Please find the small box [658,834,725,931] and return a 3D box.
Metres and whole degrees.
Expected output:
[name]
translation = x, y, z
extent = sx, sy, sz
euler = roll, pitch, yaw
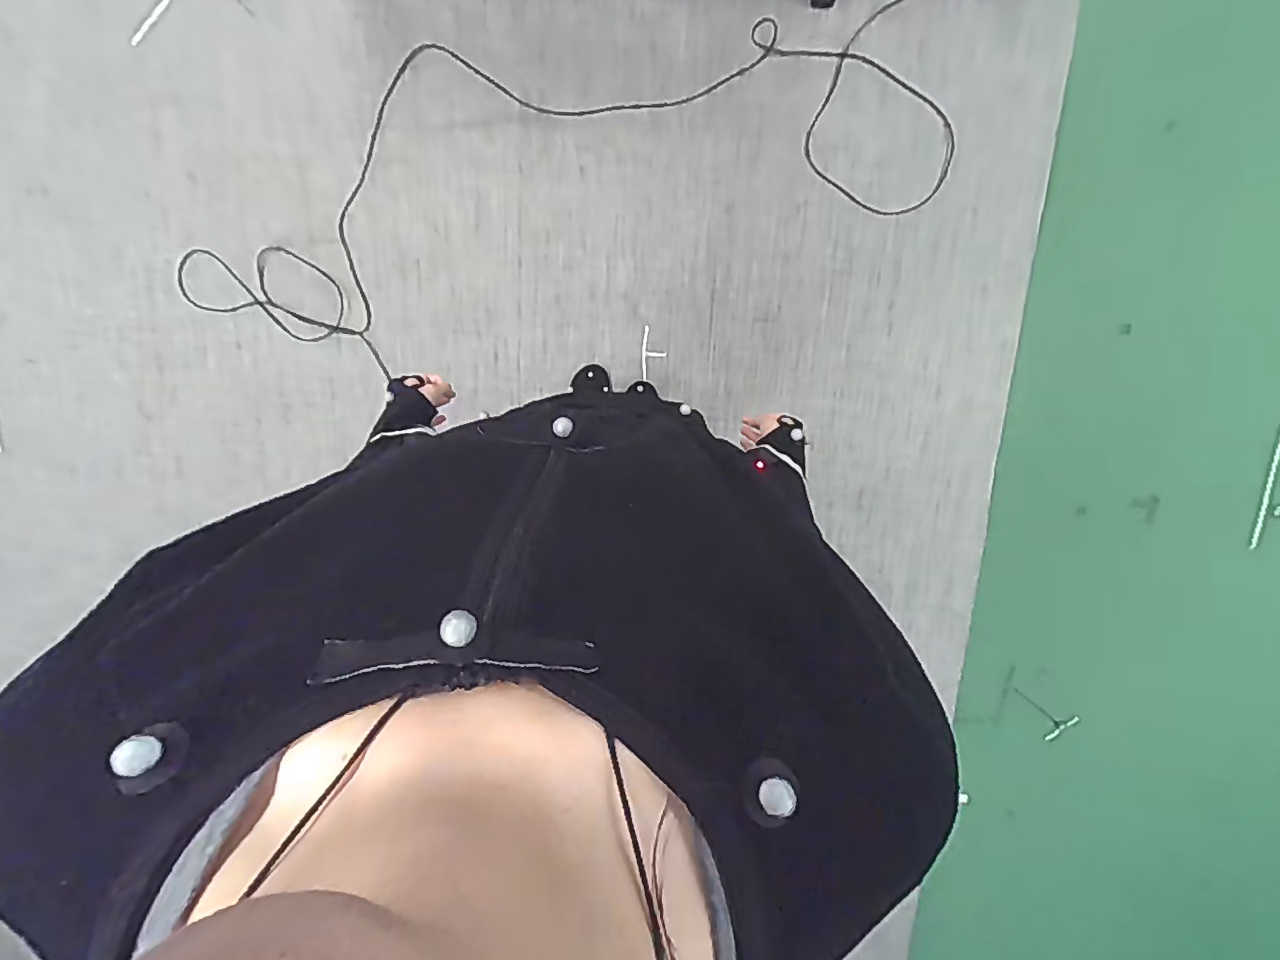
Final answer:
[small box]
translation = 0.146, 1.189, 1.605
extent = 0.179, 0.176, 0.168
euler = 1, 101, -4
